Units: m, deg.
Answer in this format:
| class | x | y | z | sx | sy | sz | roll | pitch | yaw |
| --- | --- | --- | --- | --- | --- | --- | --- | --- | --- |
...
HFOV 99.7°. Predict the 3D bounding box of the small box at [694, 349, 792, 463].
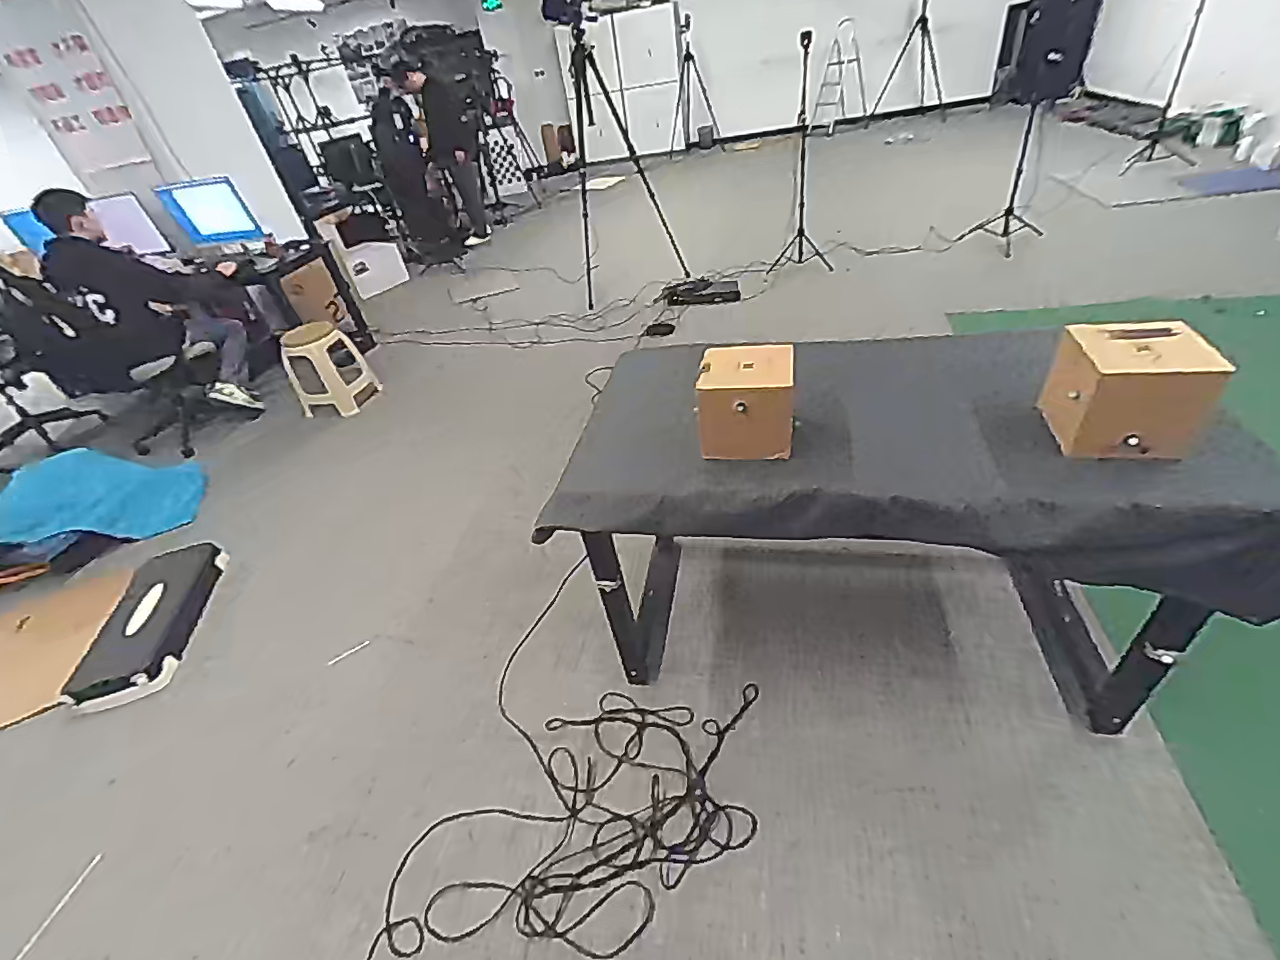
| class | x | y | z | sx | sy | sz | roll | pitch | yaw |
| --- | --- | --- | --- | --- | --- | --- | --- | --- | --- |
| small box | 0.211 | -0.146 | 1.077 | 0.179 | 0.176 | 0.168 | 2 | 40 | 14 |
